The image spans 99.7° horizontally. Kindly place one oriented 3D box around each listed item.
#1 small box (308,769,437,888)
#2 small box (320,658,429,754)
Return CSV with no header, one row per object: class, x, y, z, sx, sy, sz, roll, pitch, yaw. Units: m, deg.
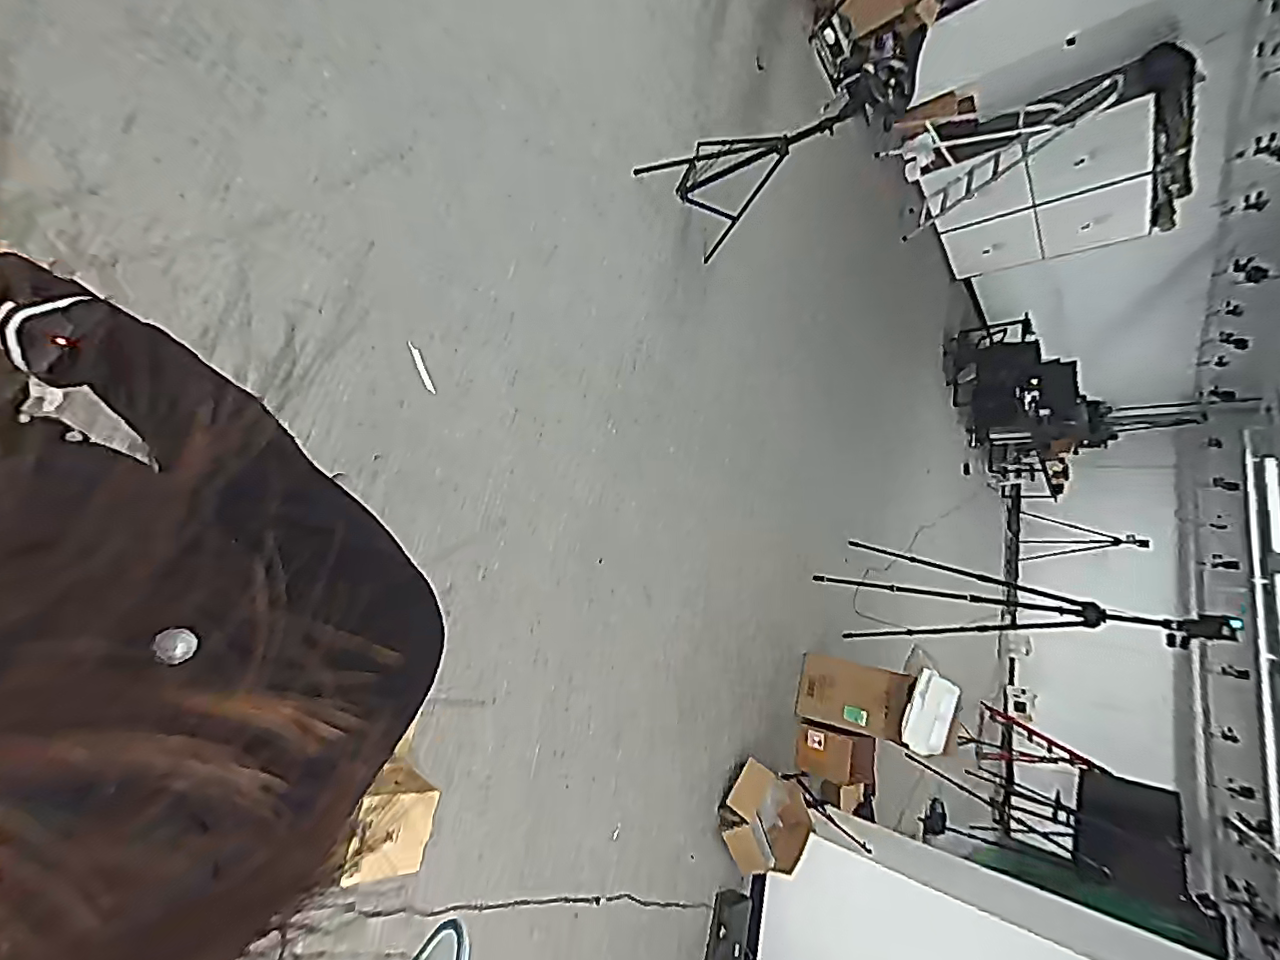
small box,-0.591,0.755,1.196,0.179,0.176,0.168,28,69,-45
small box,-0.670,0.563,1.356,0.168,0.176,0.179,35,63,-42
